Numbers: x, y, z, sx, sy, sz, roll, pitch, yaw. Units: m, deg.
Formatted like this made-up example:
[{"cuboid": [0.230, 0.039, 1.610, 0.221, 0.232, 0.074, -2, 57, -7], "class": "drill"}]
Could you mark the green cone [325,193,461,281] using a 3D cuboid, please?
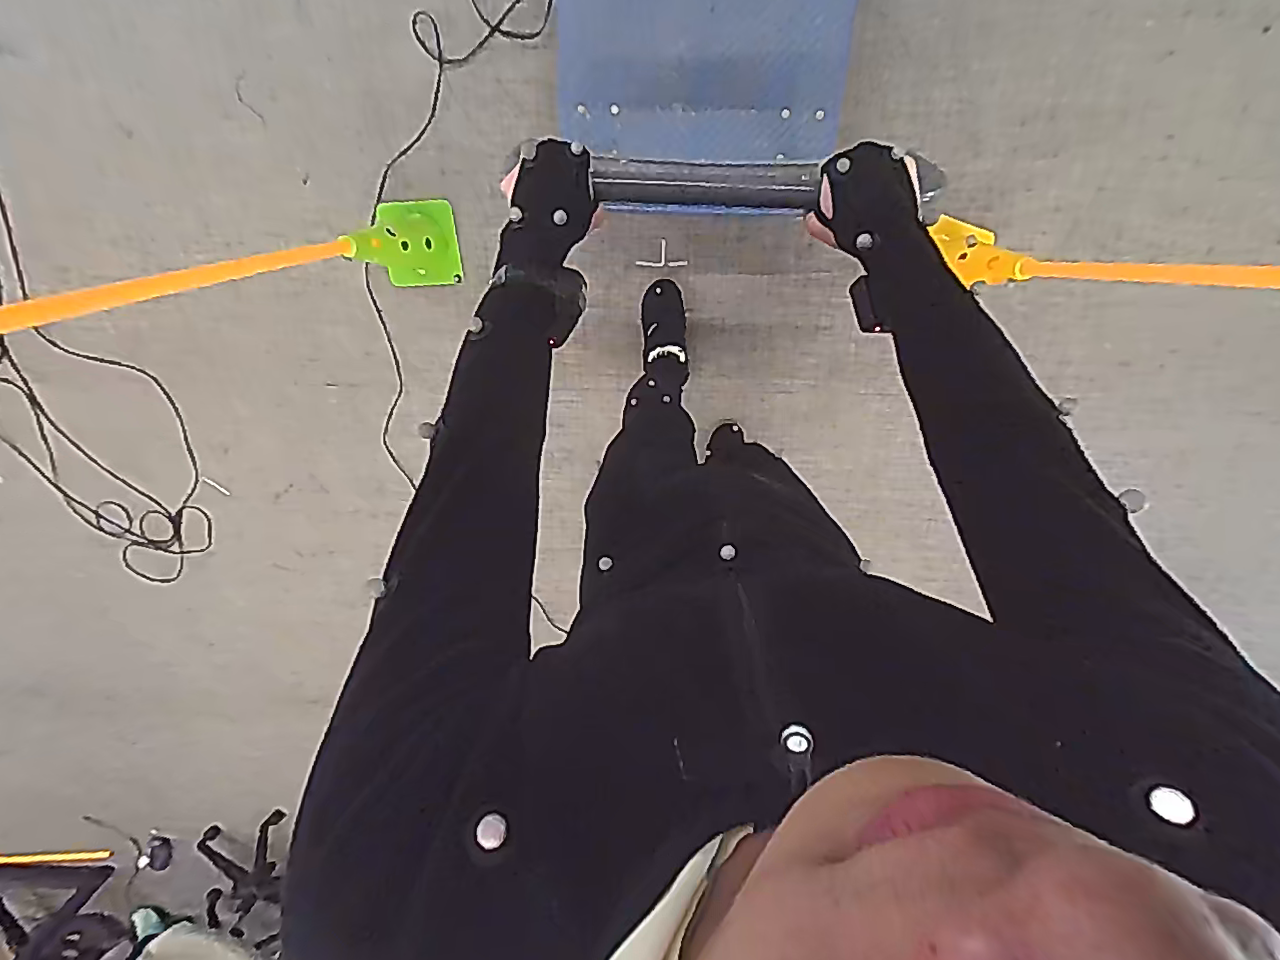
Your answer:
[{"cuboid": [-0.581, -0.548, 1.224, 0.202, 0.368, 0.200, -1, 114, 6], "class": "green cone"}]
